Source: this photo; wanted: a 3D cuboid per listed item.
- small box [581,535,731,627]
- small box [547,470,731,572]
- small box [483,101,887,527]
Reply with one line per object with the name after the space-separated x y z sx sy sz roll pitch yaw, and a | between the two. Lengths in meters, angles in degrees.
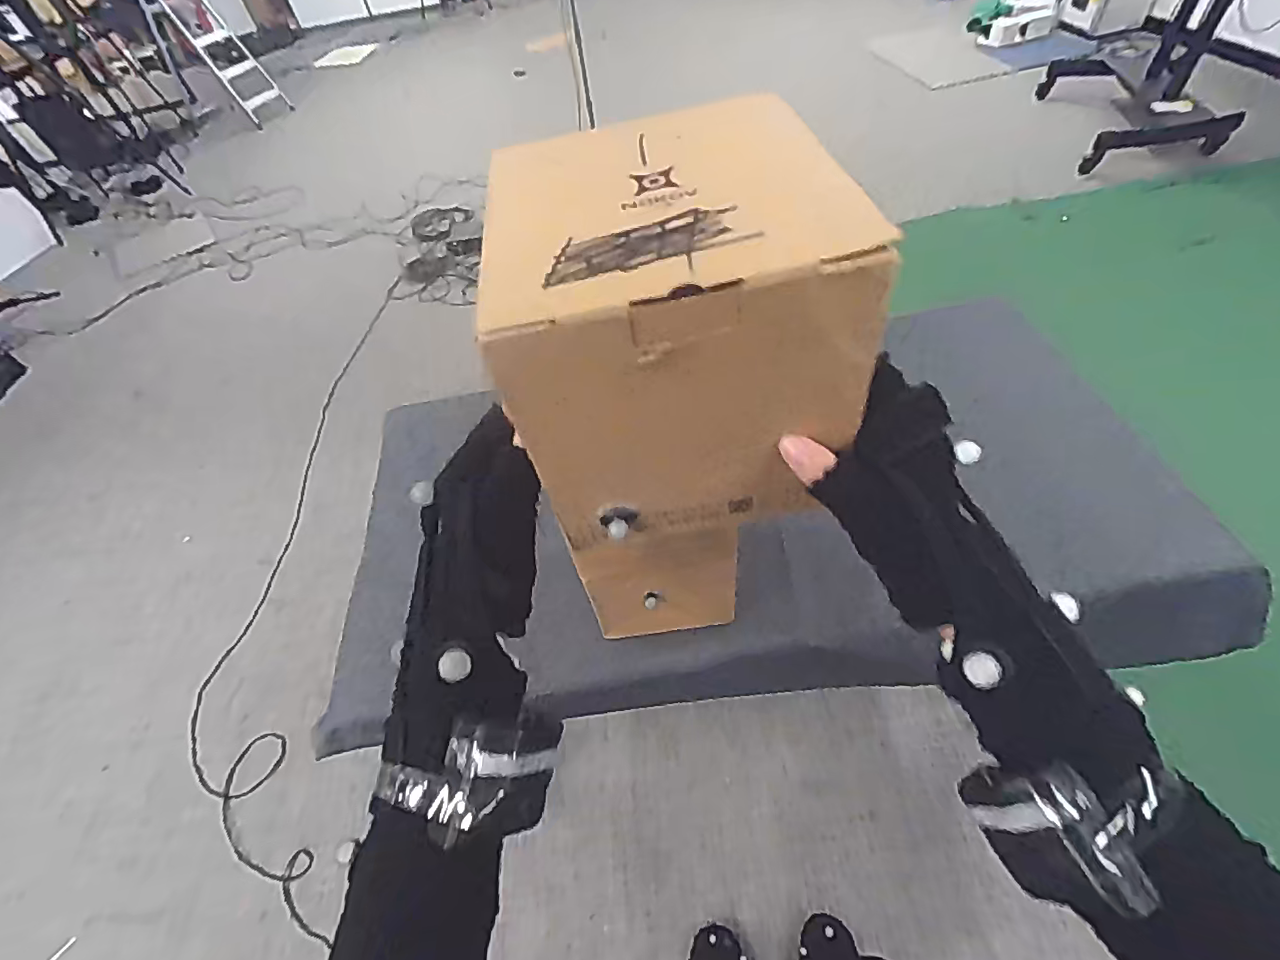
0.023 0.082 0.725 0.179 0.176 0.168 -8 50 2 | small box
0.004 -0.018 0.598 0.179 0.176 0.168 -9 49 2 | small box
0.020 -0.086 0.323 0.168 0.176 0.179 -10 52 2 | small box
